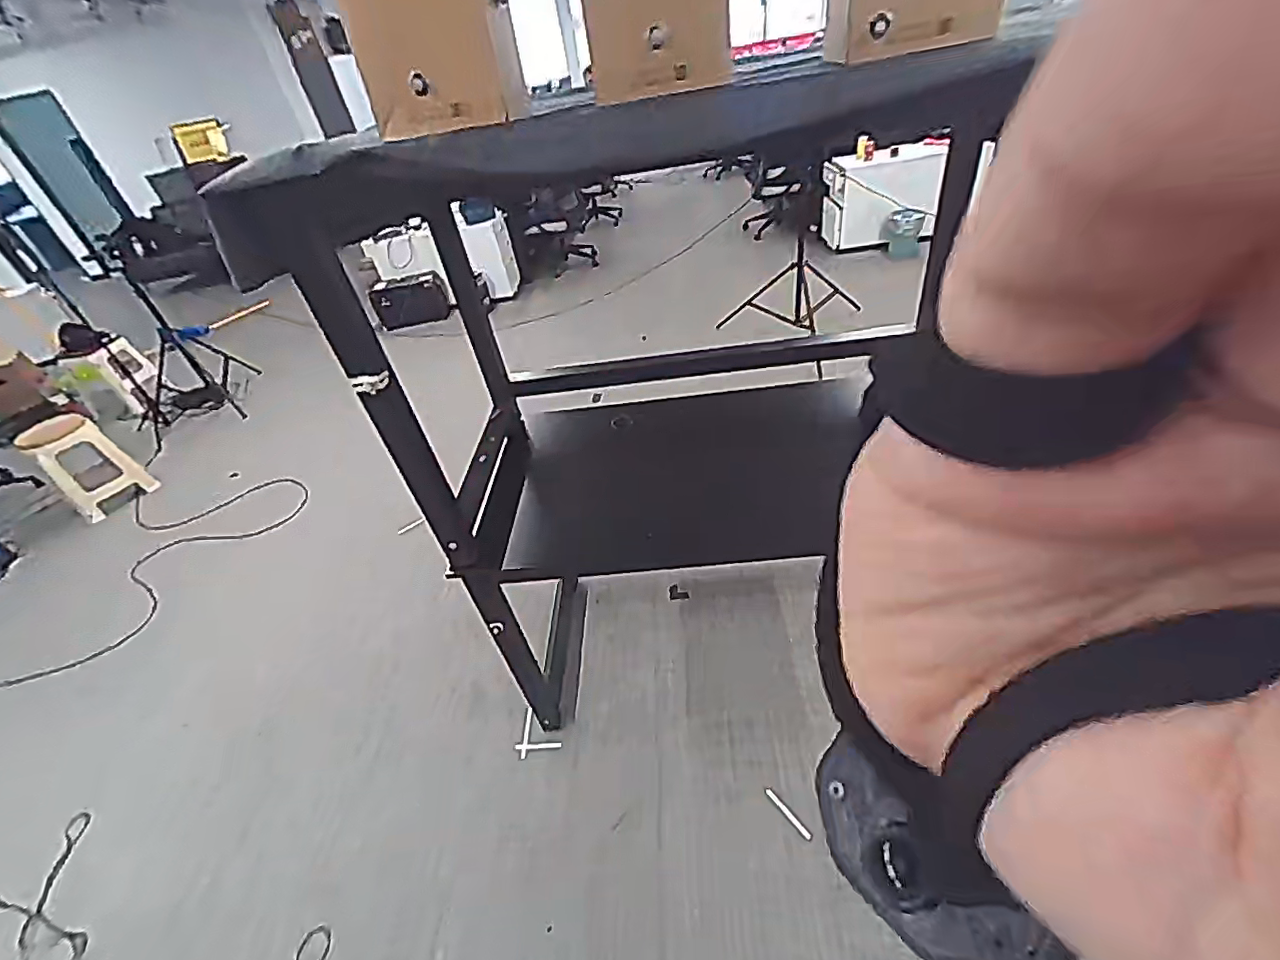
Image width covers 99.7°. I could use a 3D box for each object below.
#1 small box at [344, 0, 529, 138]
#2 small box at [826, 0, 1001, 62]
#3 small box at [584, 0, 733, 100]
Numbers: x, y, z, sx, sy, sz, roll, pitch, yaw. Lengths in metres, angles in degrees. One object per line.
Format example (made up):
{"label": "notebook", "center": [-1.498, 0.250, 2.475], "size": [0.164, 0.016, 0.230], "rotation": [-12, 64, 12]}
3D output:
{"label": "small box", "center": [-0.248, -0.548, 0.689], "size": [0.168, 0.176, 0.179], "rotation": [-6, 38, 4]}
{"label": "small box", "center": [0.318, -0.610, 0.633], "size": [0.168, 0.176, 0.179], "rotation": [-3, 37, 10]}
{"label": "small box", "center": [0.022, -0.577, 0.661], "size": [0.168, 0.176, 0.179], "rotation": [-5, 37, 7]}
